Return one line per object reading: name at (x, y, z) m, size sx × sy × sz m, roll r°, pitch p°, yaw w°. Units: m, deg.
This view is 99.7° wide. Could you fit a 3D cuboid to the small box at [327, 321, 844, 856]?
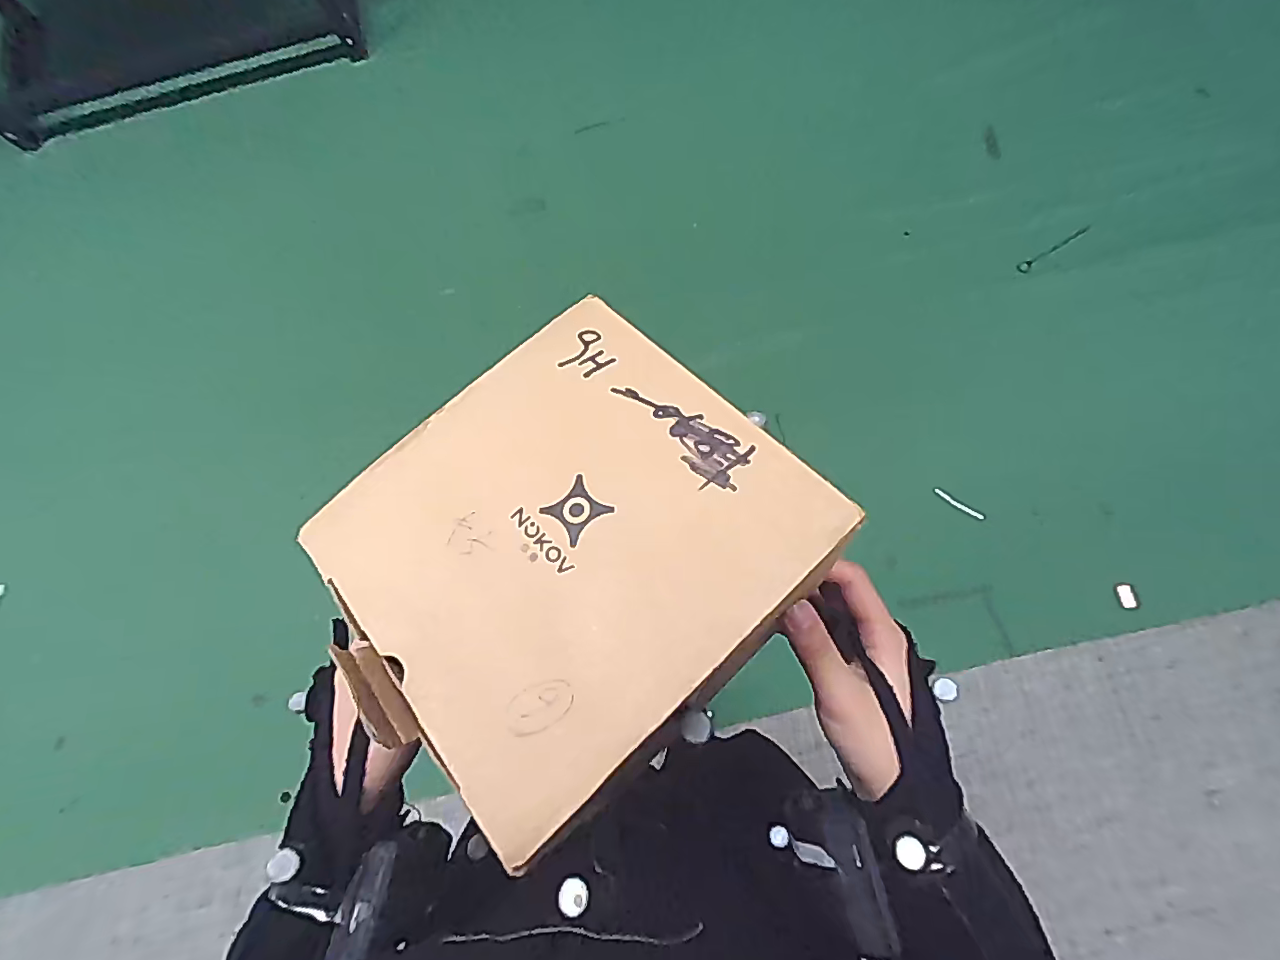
small box at (-0.018, 0.057, 0.305) m, size 0.179 × 0.176 × 0.168 m, roll -43°, pitch 68°, yaw -10°
